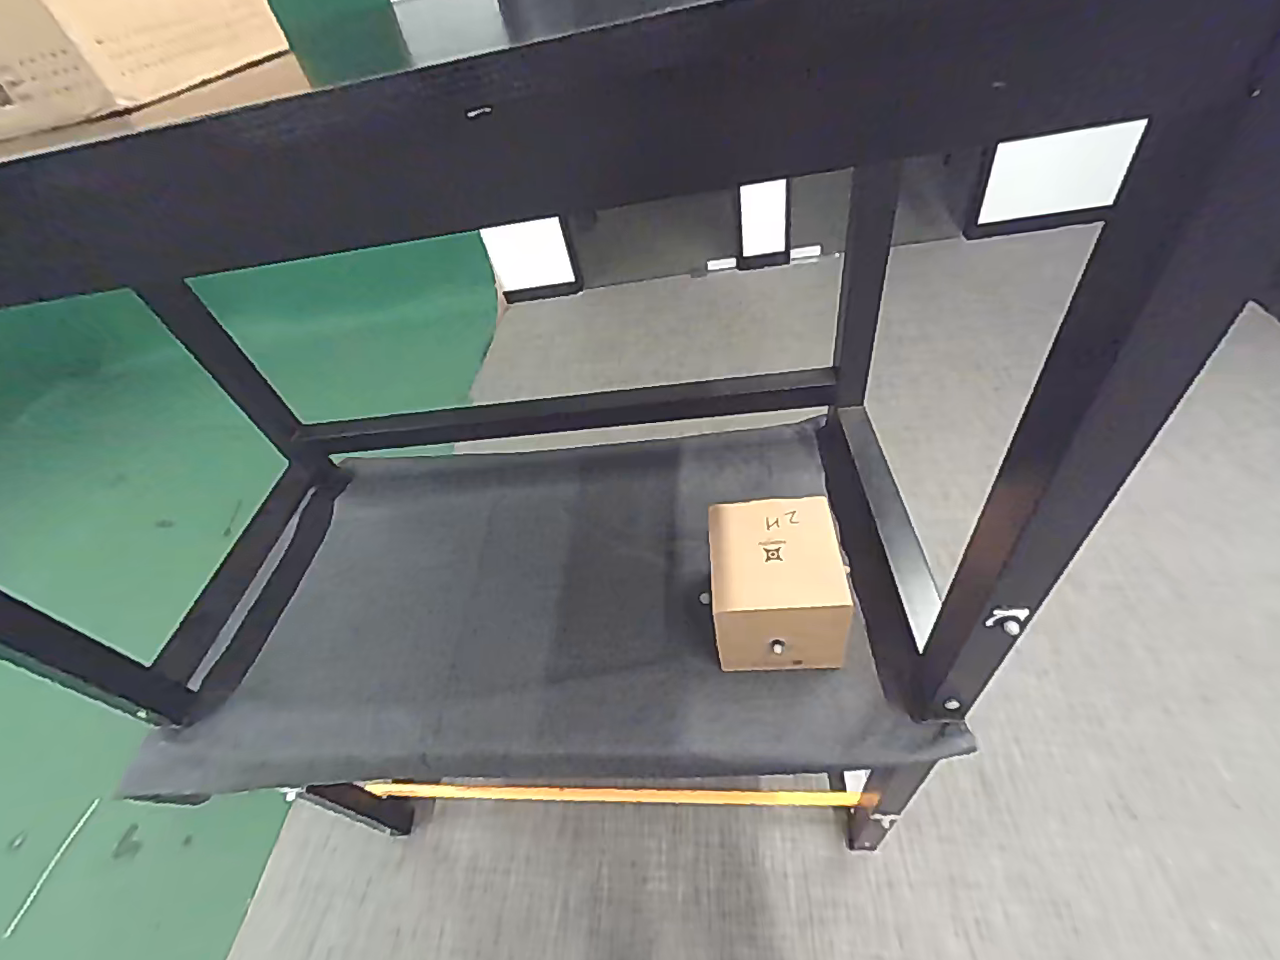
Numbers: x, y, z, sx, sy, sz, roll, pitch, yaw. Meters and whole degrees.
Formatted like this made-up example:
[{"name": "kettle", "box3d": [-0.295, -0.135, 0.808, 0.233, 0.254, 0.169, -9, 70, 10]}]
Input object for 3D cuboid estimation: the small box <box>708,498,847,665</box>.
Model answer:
[{"name": "small box", "box3d": [0.186, 0.149, 0.764, 0.168, 0.176, 0.179, -4, 45, 9]}]
